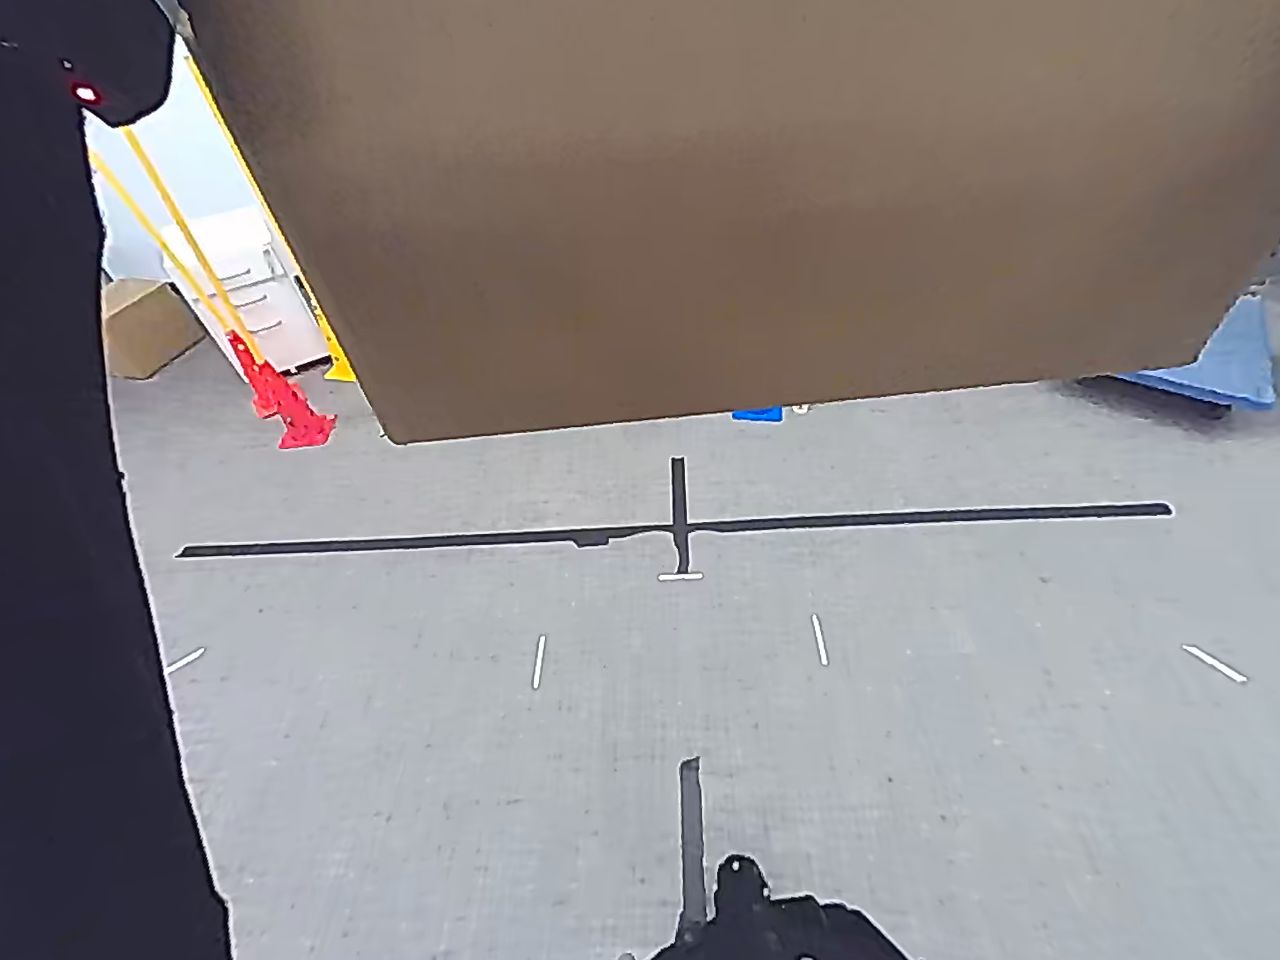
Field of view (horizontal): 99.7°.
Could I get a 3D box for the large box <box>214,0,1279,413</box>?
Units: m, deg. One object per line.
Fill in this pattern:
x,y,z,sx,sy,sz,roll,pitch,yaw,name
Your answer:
0.050,-0.260,0.287,0.408,0.320,0.320,-5,44,-1,large box
